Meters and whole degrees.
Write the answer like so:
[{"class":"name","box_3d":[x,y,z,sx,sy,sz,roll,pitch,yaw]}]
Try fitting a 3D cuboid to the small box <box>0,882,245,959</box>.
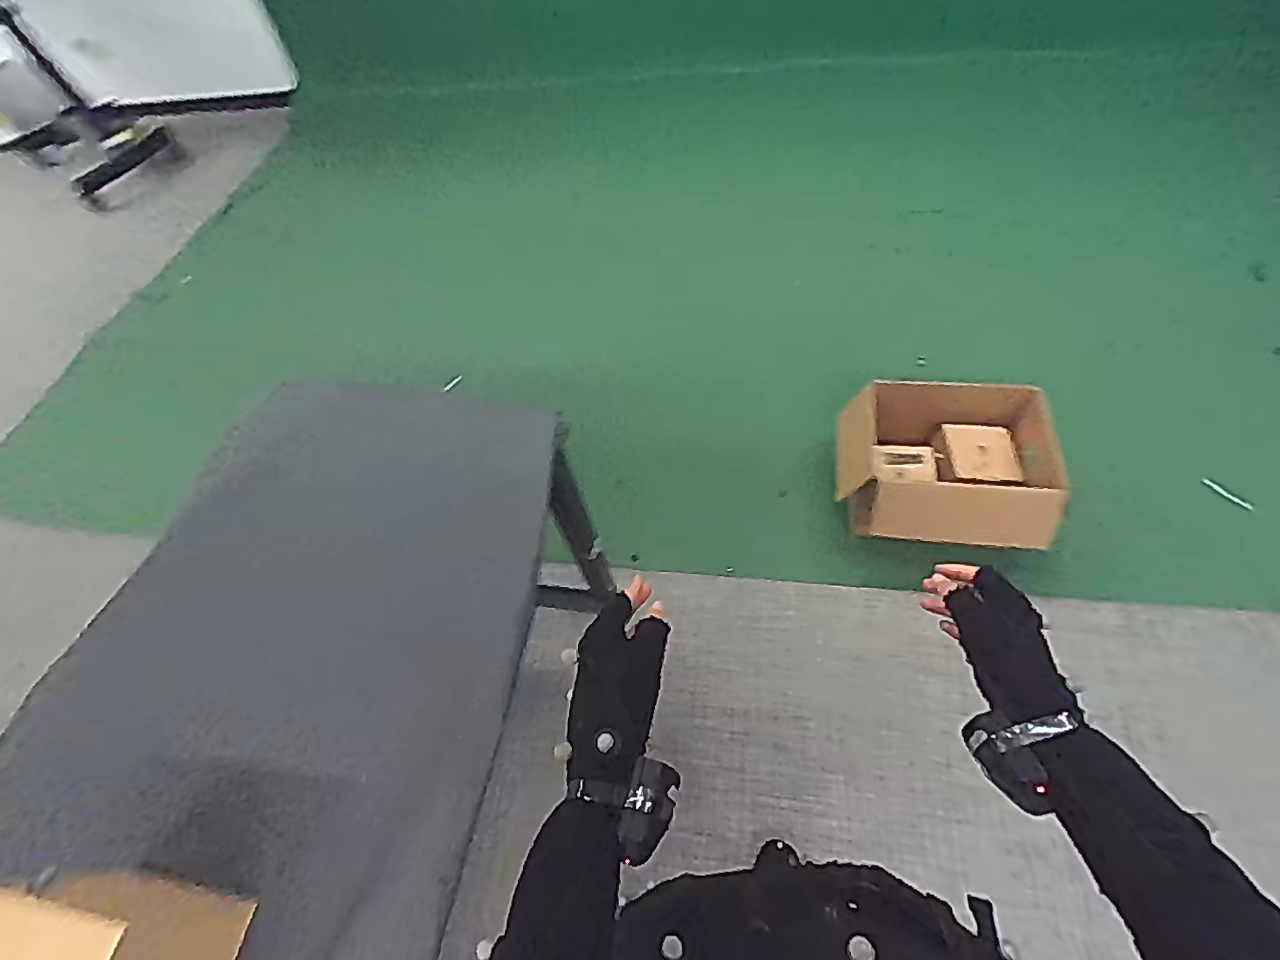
[{"class":"small box","box_3d":[-0.519,0.483,0.490,0.179,0.176,0.168,3,58,10]}]
